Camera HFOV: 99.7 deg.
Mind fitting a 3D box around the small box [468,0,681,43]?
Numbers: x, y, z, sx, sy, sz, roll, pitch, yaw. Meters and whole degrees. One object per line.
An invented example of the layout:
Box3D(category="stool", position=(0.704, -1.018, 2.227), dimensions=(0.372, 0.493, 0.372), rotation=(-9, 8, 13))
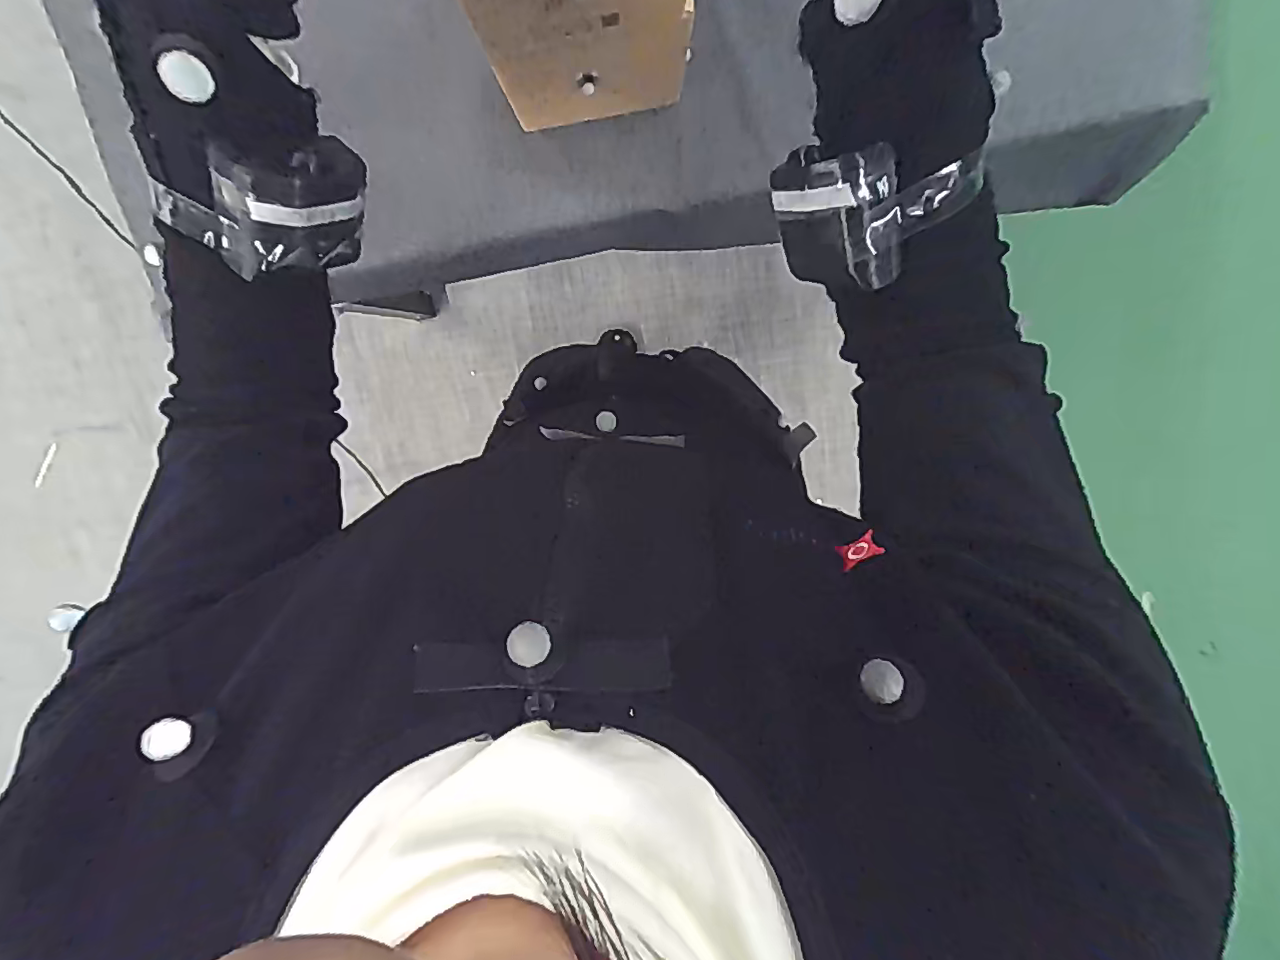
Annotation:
Box3D(category="small box", position=(-0.059, -0.426, 0.349), dimensions=(0.168, 0.176, 0.179), rotation=(-11, 103, 2))

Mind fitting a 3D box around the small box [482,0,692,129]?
Box3D(category="small box", position=(-0.055, -0.464, 0.508), dimensions=(0.179, 0.176, 0.168), rotation=(-9, 103, 3))
